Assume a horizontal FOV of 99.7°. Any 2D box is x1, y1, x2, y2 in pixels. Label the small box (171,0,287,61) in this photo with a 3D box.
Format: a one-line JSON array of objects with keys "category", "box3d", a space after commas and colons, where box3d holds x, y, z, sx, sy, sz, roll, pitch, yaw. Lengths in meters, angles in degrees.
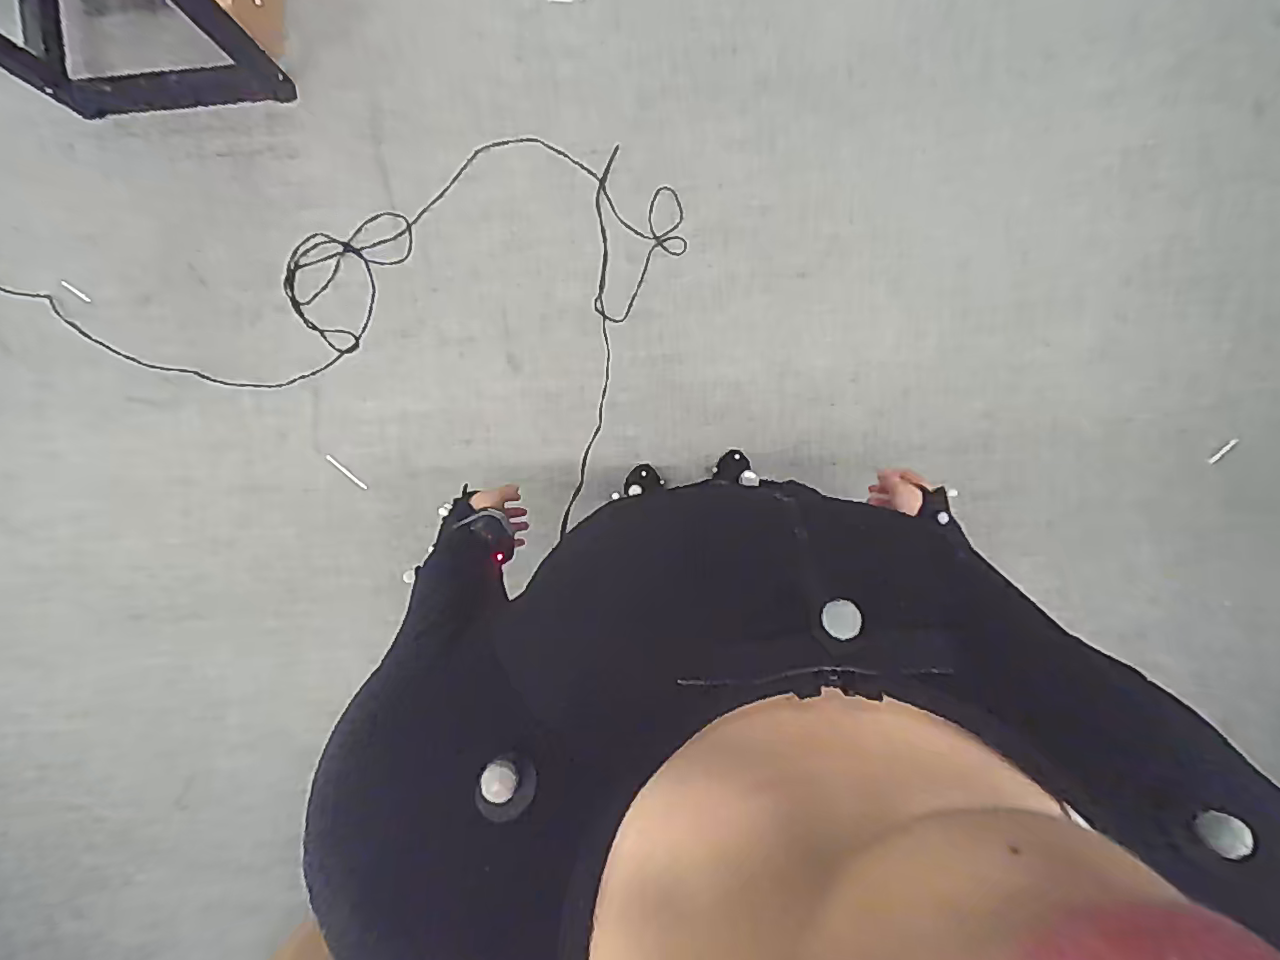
[{"category": "small box", "box3d": [-1.025, -1.205, 1.362, 0.168, 0.176, 0.179, 8, 94, 0]}]
